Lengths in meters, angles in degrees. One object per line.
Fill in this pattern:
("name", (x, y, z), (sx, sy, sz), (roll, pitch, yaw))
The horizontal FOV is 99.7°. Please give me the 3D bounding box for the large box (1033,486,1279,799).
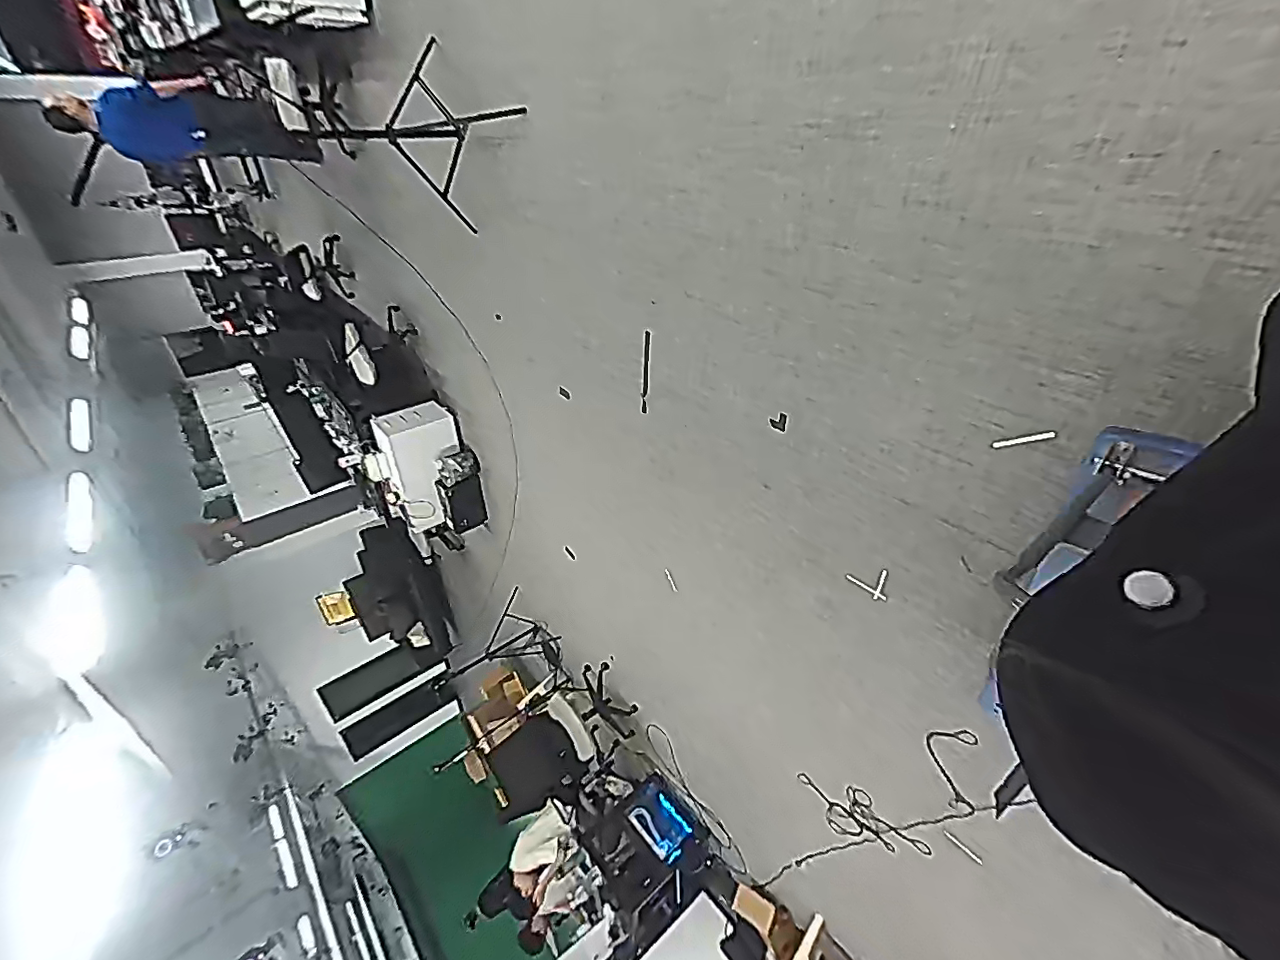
("large box", (1.015, 0.261, 0.942), (0.408, 0.320, 0.320), (31, 134, 42))
